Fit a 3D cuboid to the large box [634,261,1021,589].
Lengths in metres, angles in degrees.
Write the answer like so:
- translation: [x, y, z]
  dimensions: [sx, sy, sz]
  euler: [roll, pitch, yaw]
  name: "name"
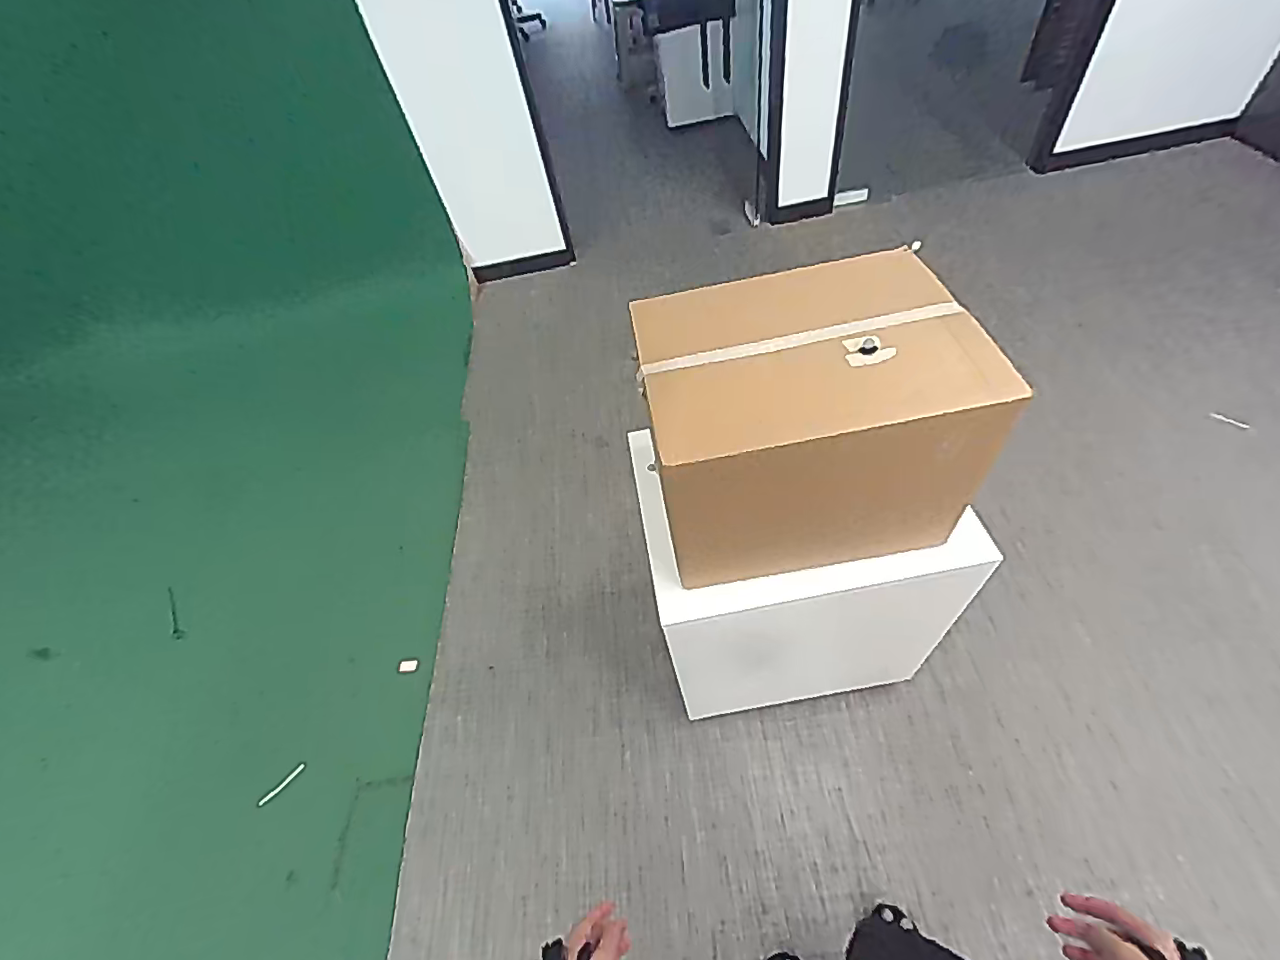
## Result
- translation: [0.223, -0.072, 0.801]
  dimensions: [0.408, 0.320, 0.320]
  euler: [-10, 52, 1]
  name: "large box"
